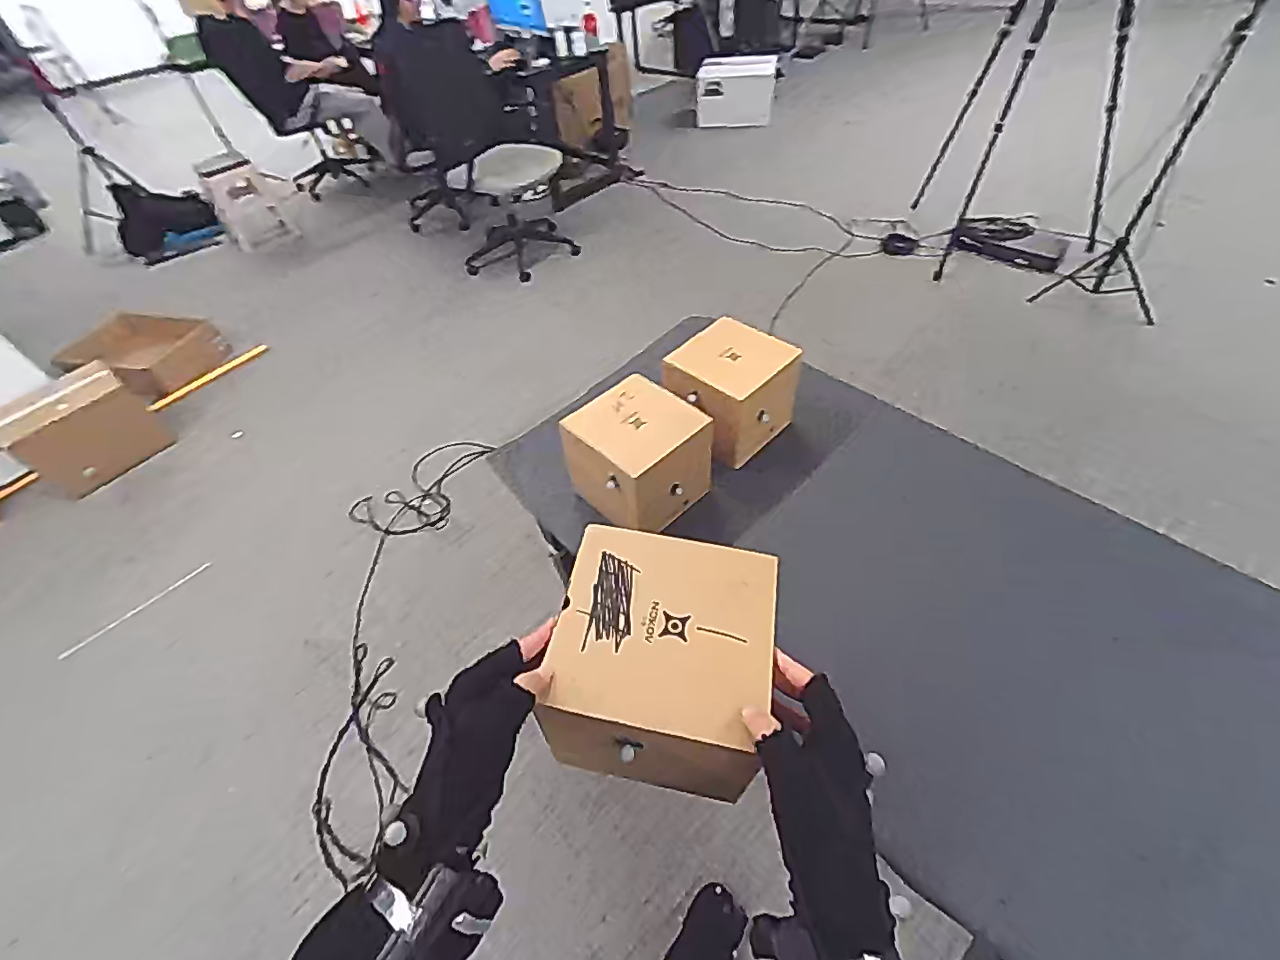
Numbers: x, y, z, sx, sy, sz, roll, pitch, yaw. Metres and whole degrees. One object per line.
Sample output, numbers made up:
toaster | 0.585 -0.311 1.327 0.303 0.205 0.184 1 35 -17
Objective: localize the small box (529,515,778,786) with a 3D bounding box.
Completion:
small box | 0.019 0.158 0.493 0.179 0.176 0.168 10 50 7

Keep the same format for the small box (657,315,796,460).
small box | 0.154 -0.160 0.971 0.168 0.176 0.179 -40 55 -24

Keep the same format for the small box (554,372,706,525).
small box | -0.010 -0.038 0.879 0.168 0.176 0.179 -38 55 -25
